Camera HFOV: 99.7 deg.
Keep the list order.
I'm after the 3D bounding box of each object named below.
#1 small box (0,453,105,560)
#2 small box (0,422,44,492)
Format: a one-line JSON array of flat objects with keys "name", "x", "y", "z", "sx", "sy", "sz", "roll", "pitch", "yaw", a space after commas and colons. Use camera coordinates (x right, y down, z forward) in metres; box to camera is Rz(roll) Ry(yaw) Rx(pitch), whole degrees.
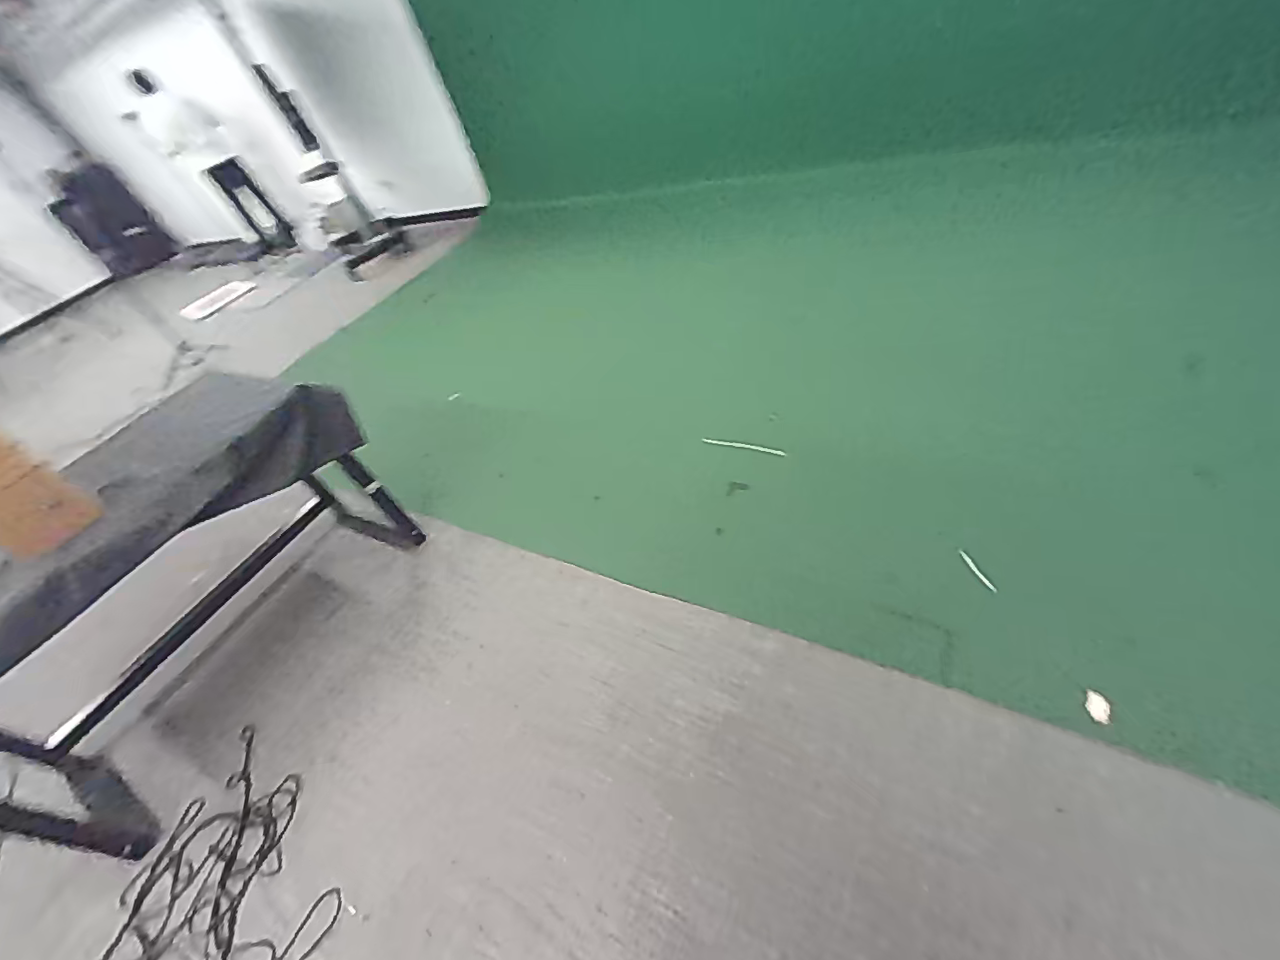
[{"name": "small box", "x": -1.470, "y": 0.062, "z": 1.323, "sx": 0.168, "sy": 0.176, "sz": 0.179, "roll": 19, "pitch": 57, "yaw": 37}, {"name": "small box", "x": -1.520, "y": -0.050, "z": 1.216, "sx": 0.168, "sy": 0.176, "sz": 0.179, "roll": 19, "pitch": 56, "yaw": 37}]
